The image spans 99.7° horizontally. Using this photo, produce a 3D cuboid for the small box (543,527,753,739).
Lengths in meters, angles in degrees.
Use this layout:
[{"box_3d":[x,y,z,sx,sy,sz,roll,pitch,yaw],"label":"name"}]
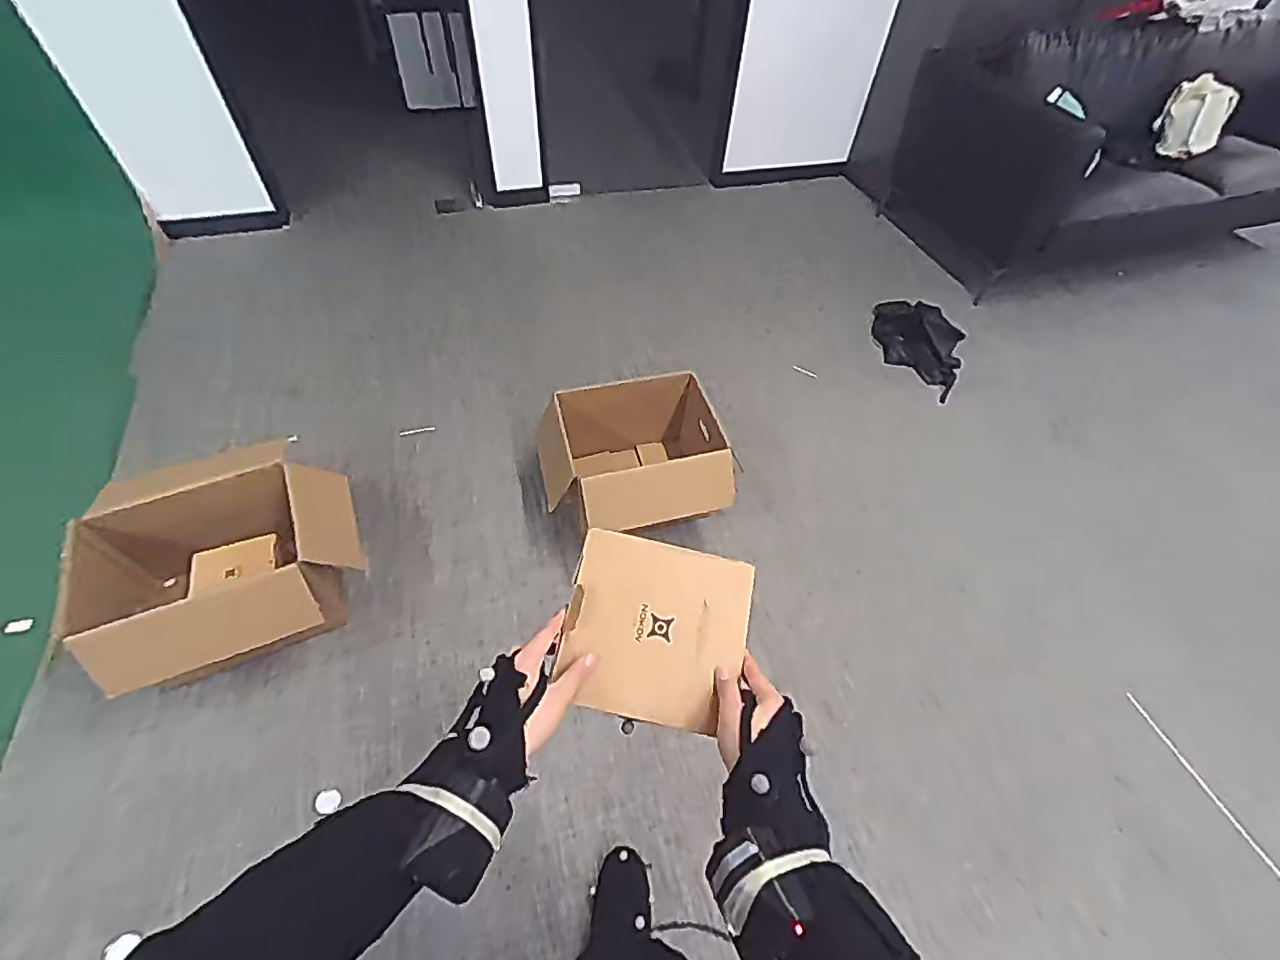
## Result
[{"box_3d":[0.004,0.169,0.581,0.179,0.176,0.168,14,67,-3],"label":"small box"}]
